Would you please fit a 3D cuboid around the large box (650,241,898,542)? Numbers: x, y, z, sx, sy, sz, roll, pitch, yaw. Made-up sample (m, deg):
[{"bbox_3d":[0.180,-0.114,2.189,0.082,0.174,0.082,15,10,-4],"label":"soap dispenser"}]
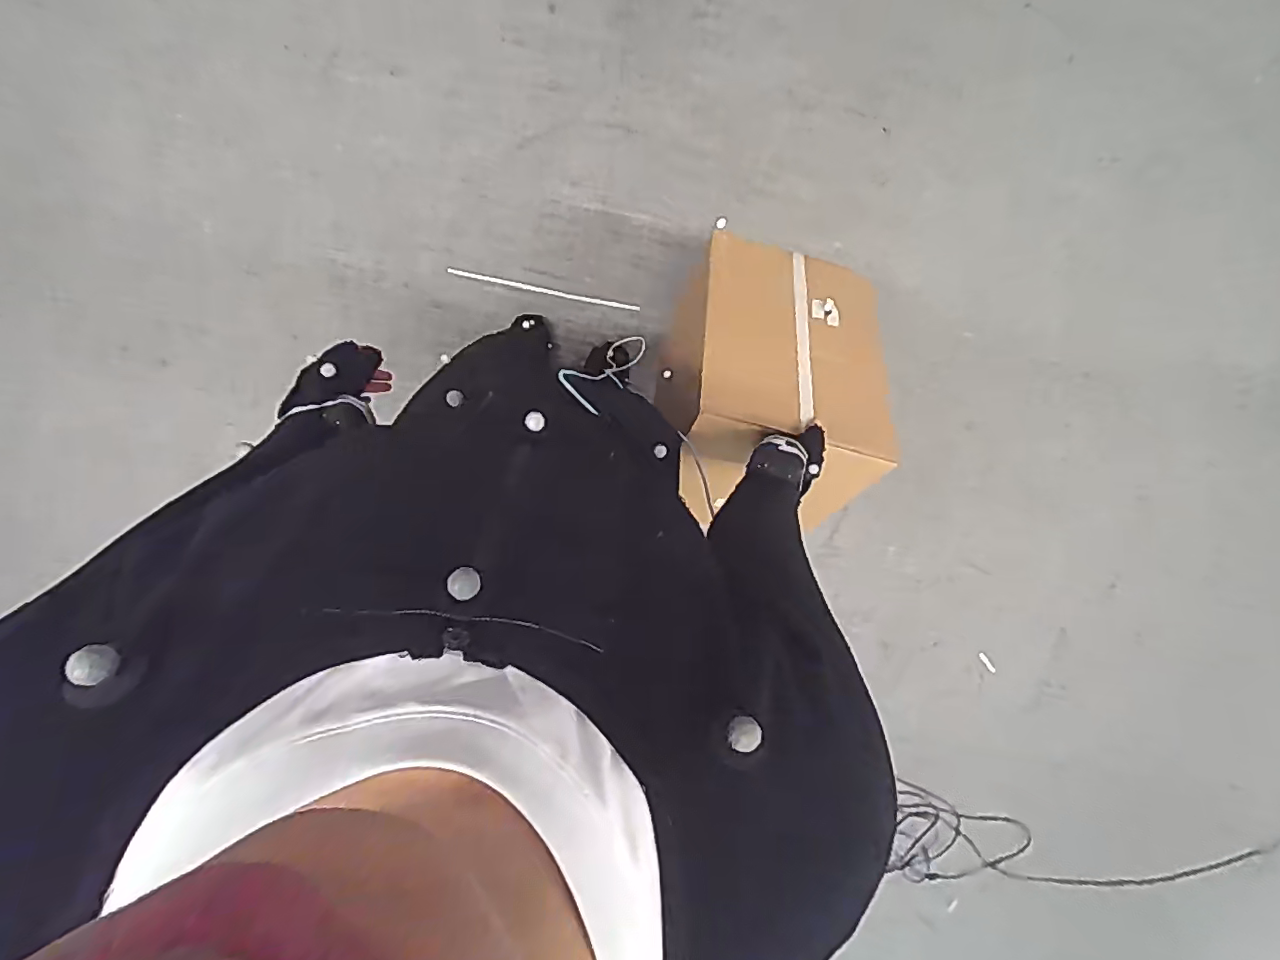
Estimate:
[{"bbox_3d":[0.220,-0.144,0.995,0.320,0.408,0.320,15,149,-10],"label":"large box"}]
